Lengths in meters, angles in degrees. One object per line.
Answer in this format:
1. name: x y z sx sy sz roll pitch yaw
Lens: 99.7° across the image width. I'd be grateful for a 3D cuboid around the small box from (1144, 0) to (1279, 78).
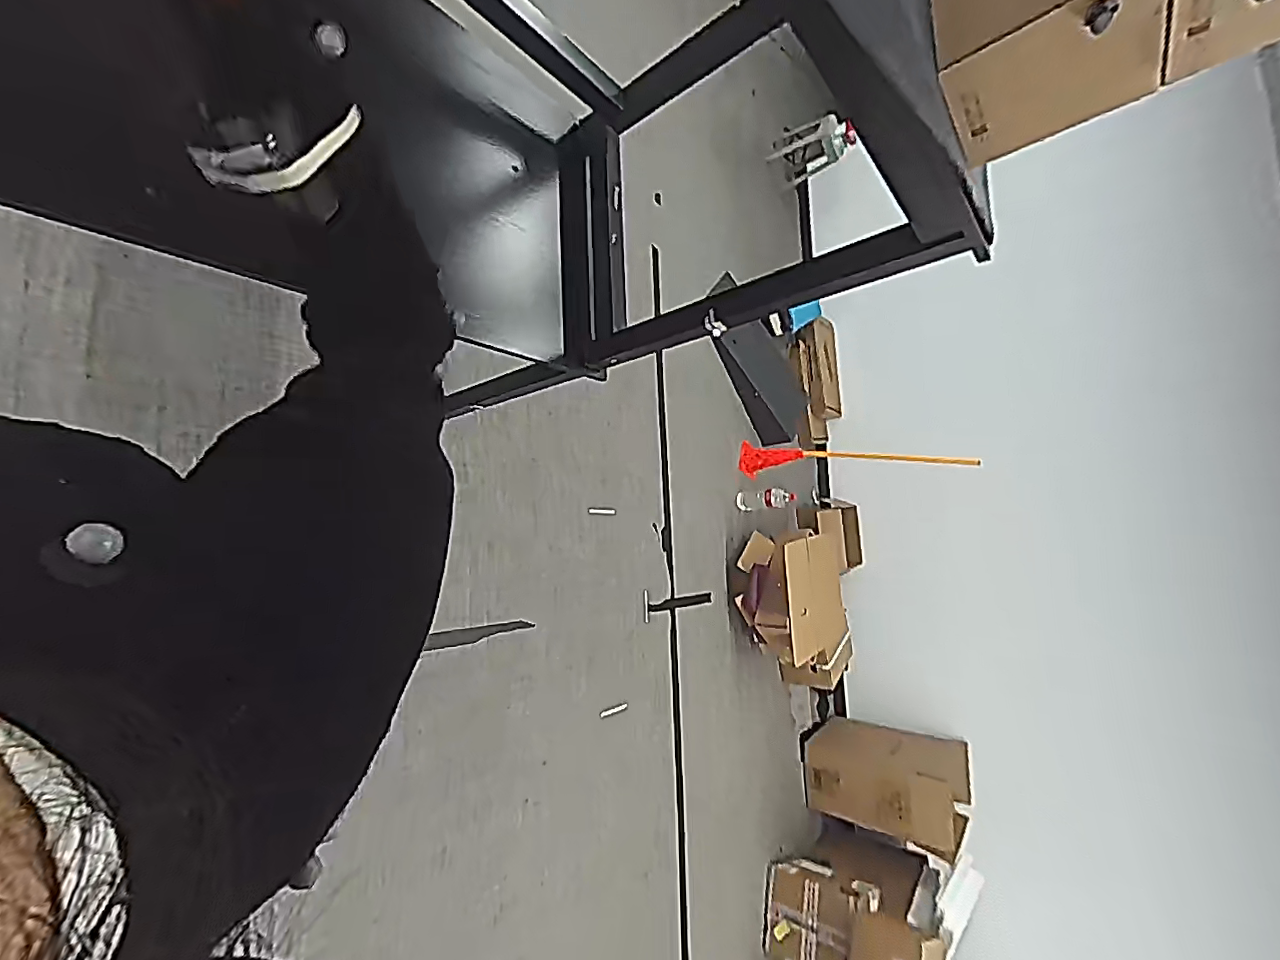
1. small box: 0.520 -0.491 0.434 0.168 0.176 0.179 11 75 -48
